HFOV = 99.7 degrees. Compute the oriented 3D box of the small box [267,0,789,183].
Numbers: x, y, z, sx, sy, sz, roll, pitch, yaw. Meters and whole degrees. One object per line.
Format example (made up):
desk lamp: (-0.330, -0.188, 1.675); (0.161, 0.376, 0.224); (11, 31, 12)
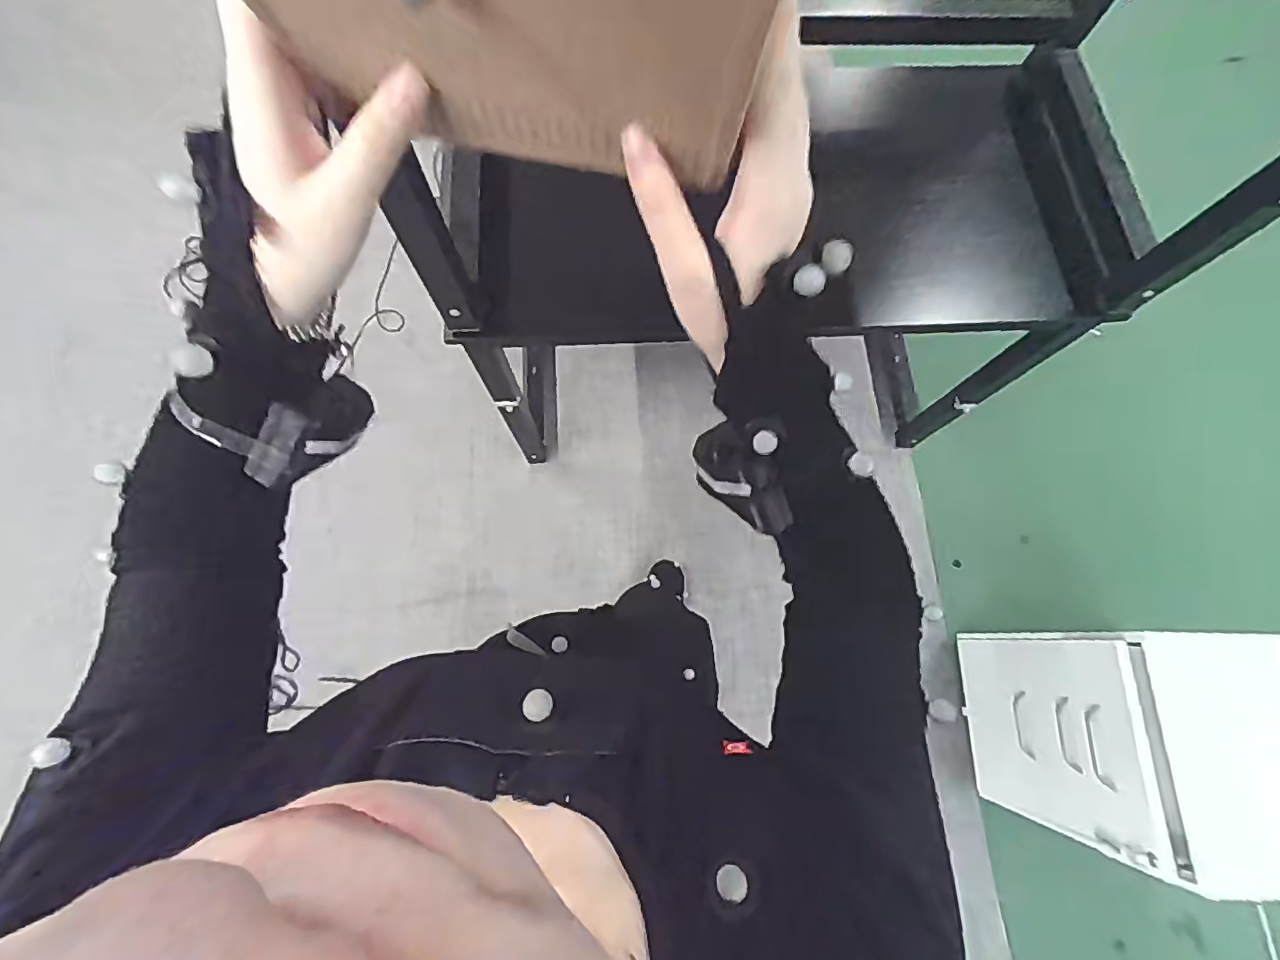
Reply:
small box: (-0.031, -0.217, 0.159); (0.179, 0.176, 0.168); (9, 92, 0)
